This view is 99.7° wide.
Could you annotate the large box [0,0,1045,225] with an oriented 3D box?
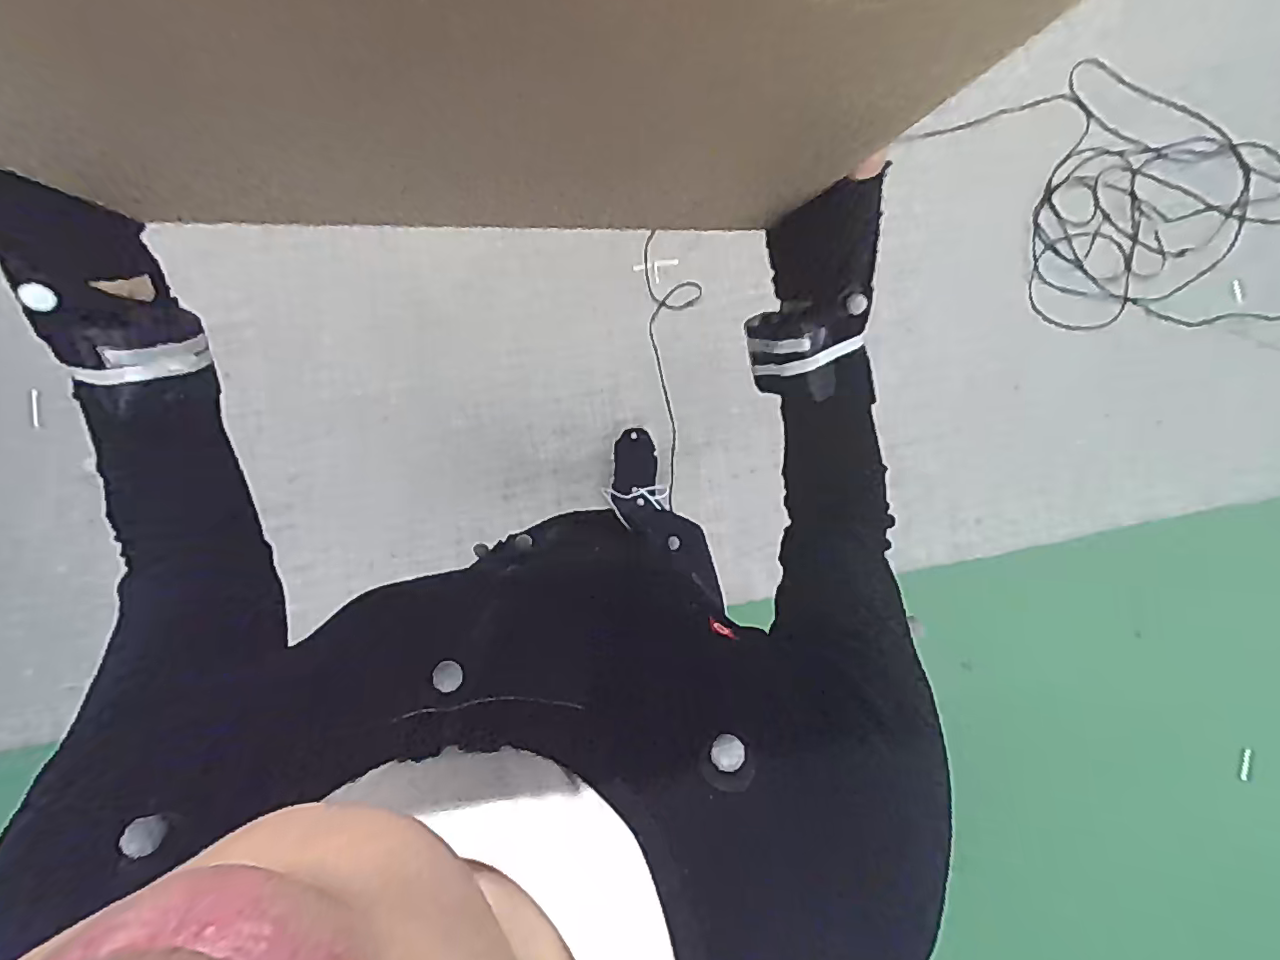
[{"bbox_3d":[-0.078,-0.296,0.186,0.408,0.320,0.320,-4,101,-9],"label":"large box"}]
